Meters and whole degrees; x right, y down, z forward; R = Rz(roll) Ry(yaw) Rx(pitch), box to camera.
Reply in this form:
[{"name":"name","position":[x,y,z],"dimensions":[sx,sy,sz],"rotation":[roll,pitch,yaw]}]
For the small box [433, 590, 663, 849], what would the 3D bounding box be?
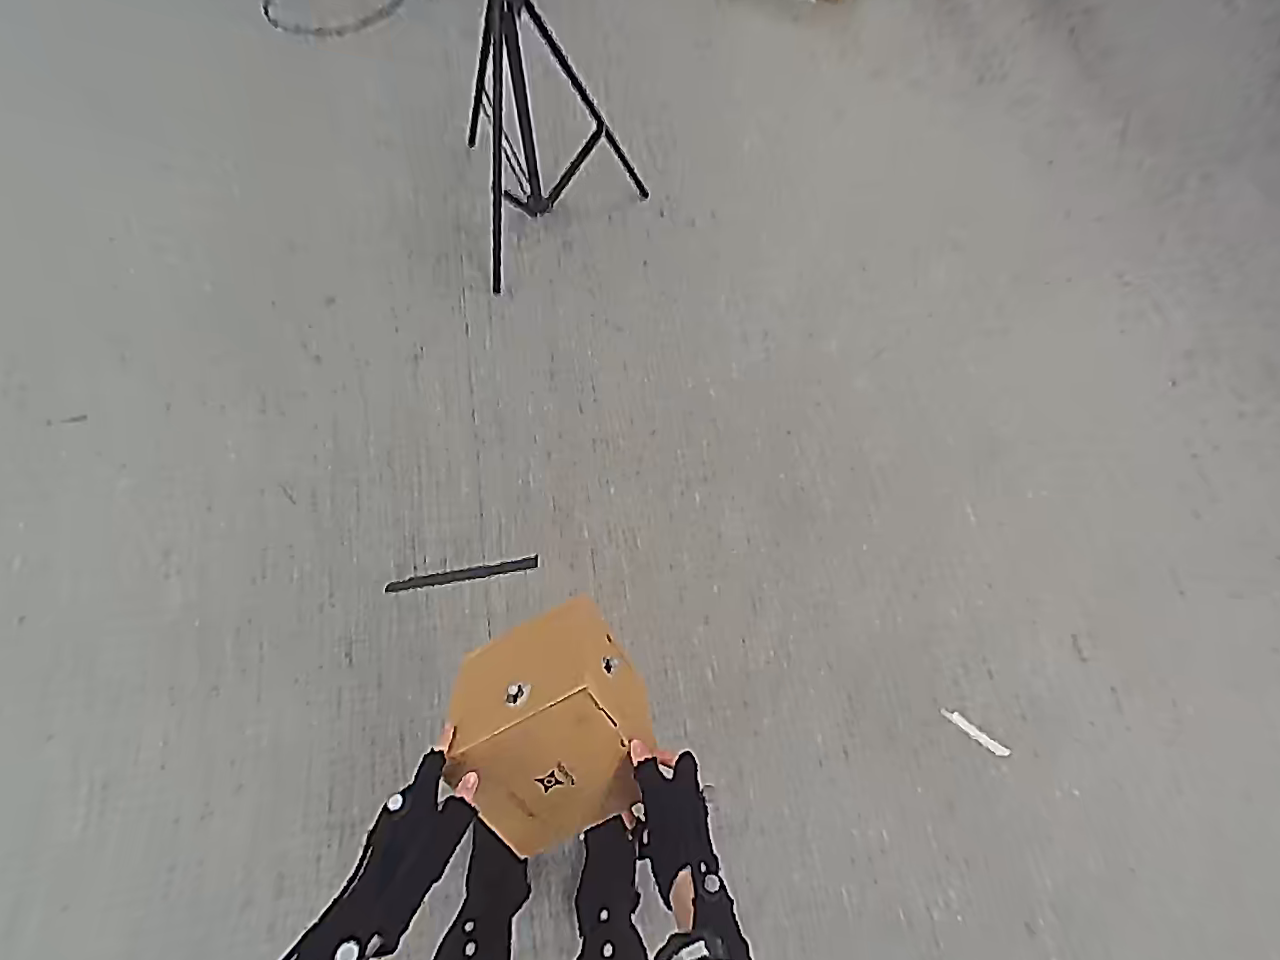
[{"name":"small box","position":[-0.097,0.257,0.611],"dimensions":[0.179,0.176,0.168],"rotation":[-29,111,4]}]
